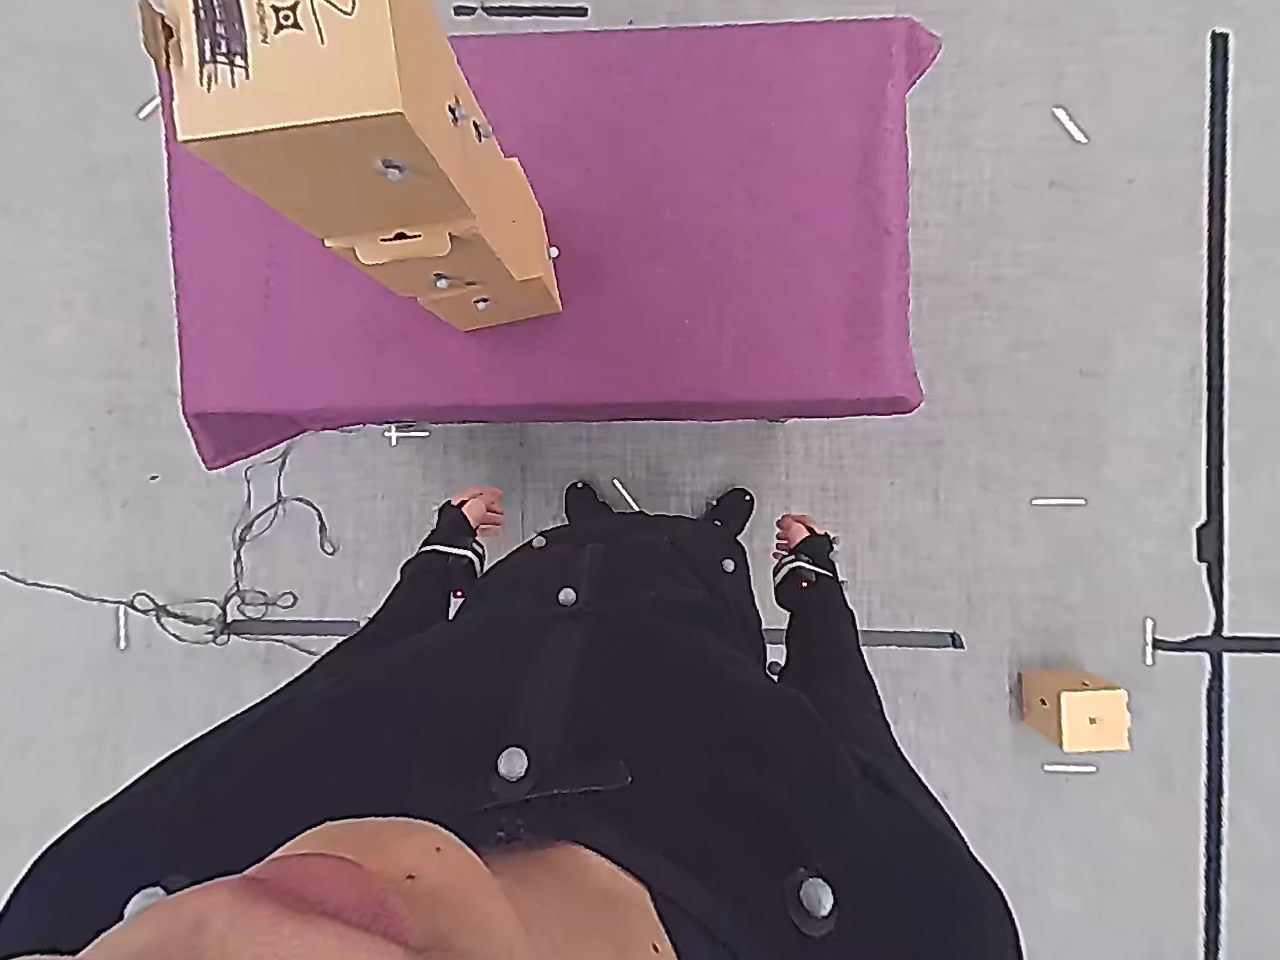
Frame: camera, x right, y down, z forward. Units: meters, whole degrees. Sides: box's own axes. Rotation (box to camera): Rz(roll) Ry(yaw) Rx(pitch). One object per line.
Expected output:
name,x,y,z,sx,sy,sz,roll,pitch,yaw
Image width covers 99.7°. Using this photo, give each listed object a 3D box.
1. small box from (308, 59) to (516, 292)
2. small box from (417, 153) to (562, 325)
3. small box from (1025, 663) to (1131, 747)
small box,-0.254,-0.343,0.641,0.168,0.176,0.179,-6,92,3
small box,-0.227,-0.343,0.805,0.179,0.176,0.168,-11,92,1
small box,1.223,0.629,1.525,0.179,0.176,0.168,-4,92,2
